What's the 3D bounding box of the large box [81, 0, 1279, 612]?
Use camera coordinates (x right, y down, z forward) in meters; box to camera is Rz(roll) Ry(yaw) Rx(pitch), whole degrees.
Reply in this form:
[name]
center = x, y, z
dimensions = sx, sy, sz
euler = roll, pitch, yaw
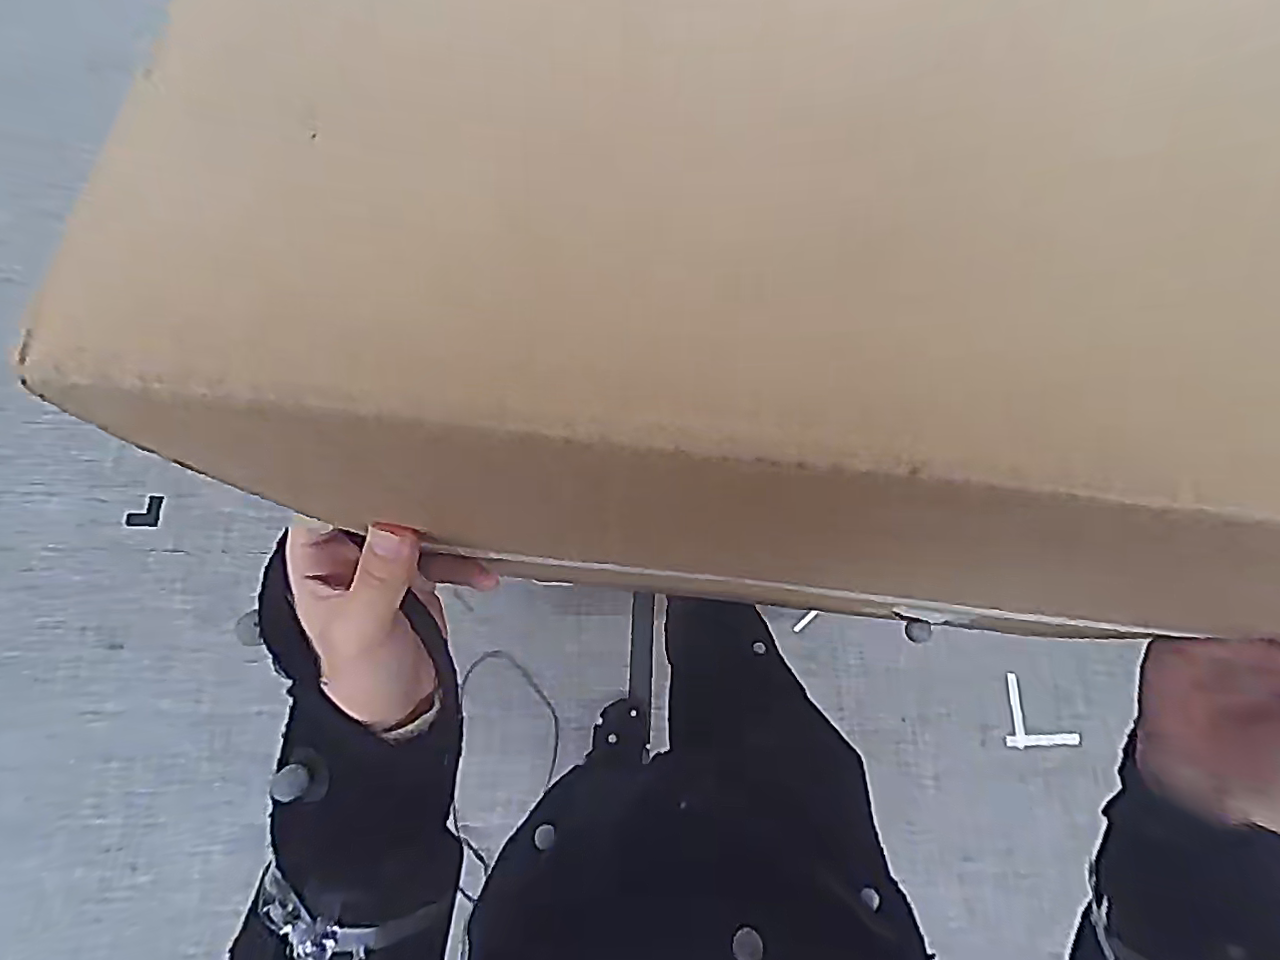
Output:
[large box]
center = 0.097, -0.113, 0.283
dimensions = 0.408, 0.320, 0.320
euler = 6, 75, -2
